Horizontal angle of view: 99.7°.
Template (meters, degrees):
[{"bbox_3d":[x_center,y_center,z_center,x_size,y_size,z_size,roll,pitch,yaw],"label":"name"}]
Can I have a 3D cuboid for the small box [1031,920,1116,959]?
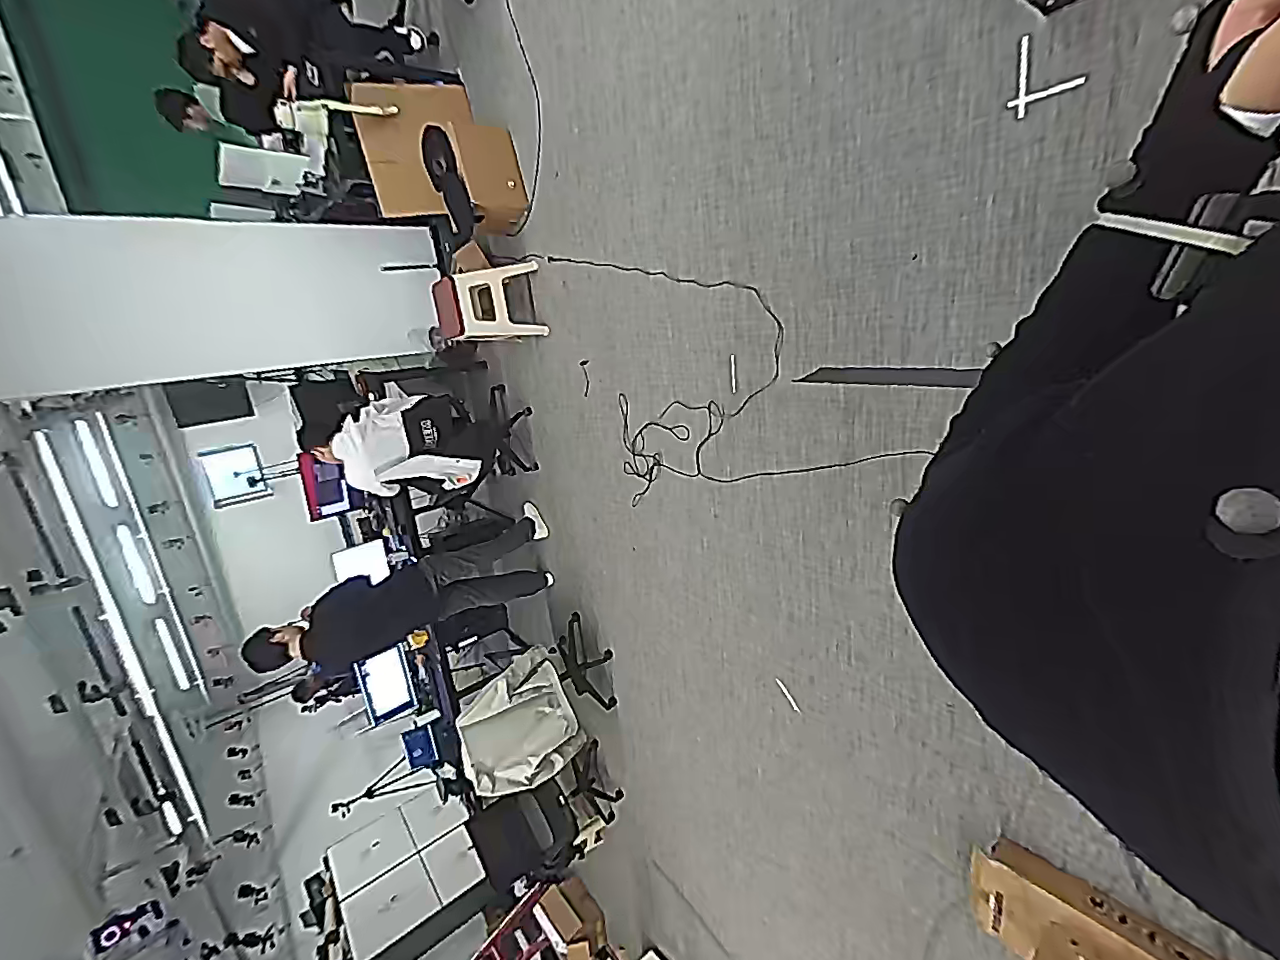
[{"bbox_3d":[1.128,1.316,1.401,0.168,0.176,0.179,13,116,50],"label":"small box"}]
